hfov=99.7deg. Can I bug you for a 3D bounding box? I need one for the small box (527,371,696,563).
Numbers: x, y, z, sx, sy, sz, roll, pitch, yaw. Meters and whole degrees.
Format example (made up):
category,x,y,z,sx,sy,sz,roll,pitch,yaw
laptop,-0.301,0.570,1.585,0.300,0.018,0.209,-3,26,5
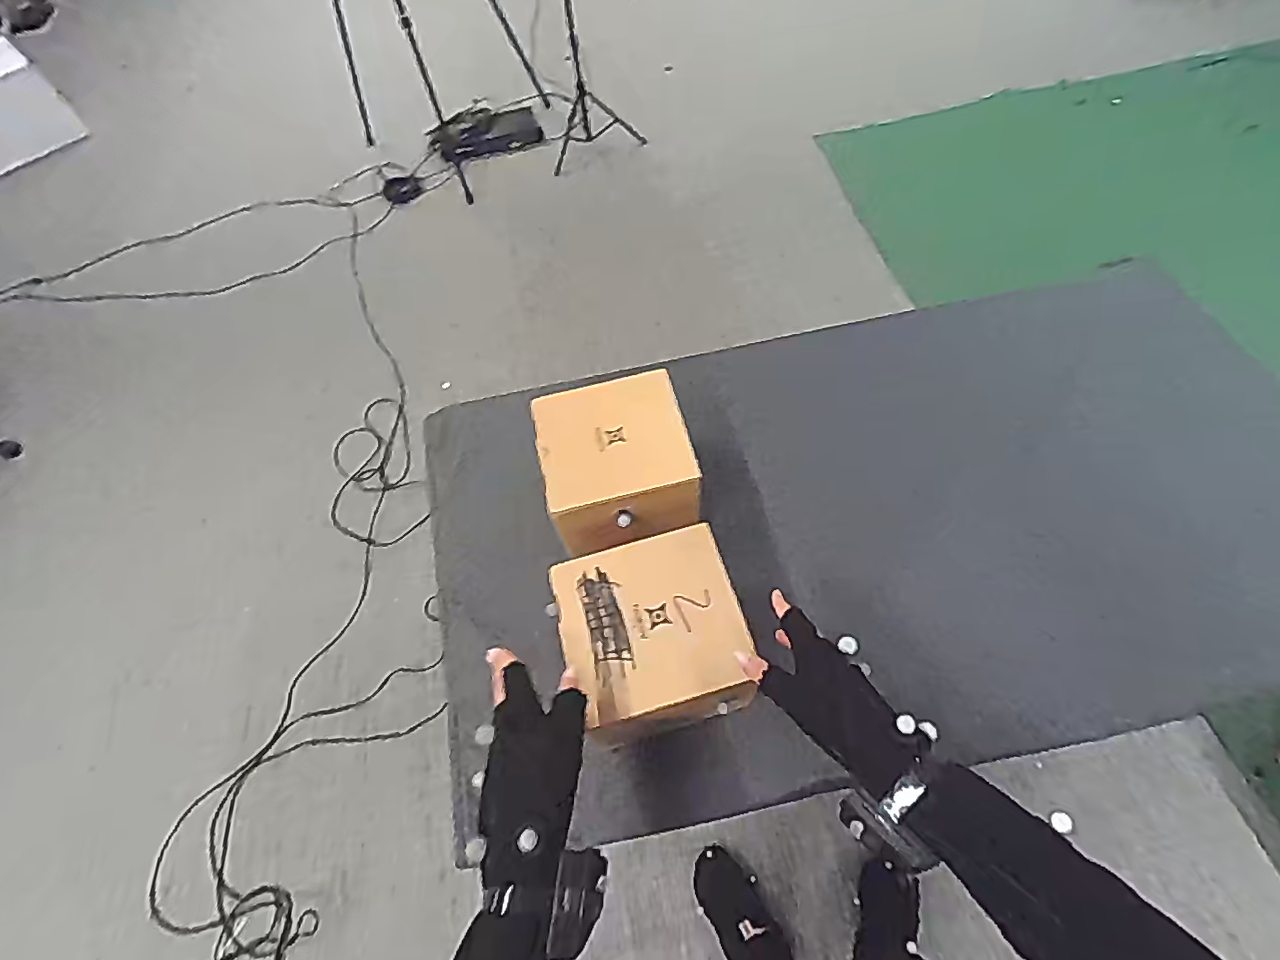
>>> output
category,x,y,z,sx,sy,sz,roll,pitch,yaw
small box,-0.033,-0.010,0.706,0.179,0.176,0.168,-15,61,-2
